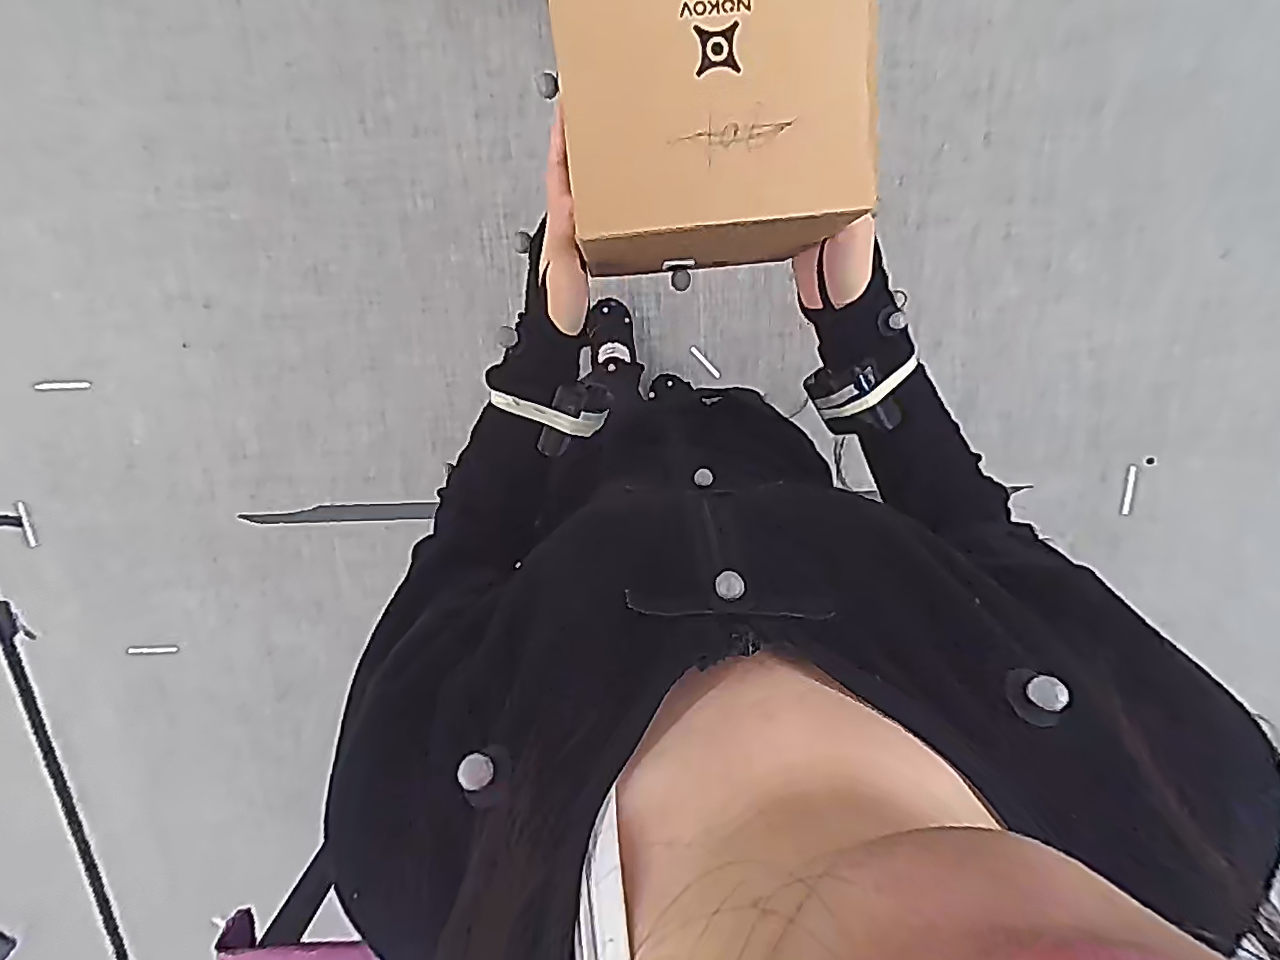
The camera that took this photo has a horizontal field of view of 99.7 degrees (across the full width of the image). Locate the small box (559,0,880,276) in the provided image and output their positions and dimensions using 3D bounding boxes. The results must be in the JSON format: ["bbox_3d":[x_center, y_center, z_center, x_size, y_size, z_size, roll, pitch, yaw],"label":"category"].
[{"bbox_3d":[0.038,-0.244,0.355,0.168,0.176,0.179,-7,104,0],"label":"small box"}]
